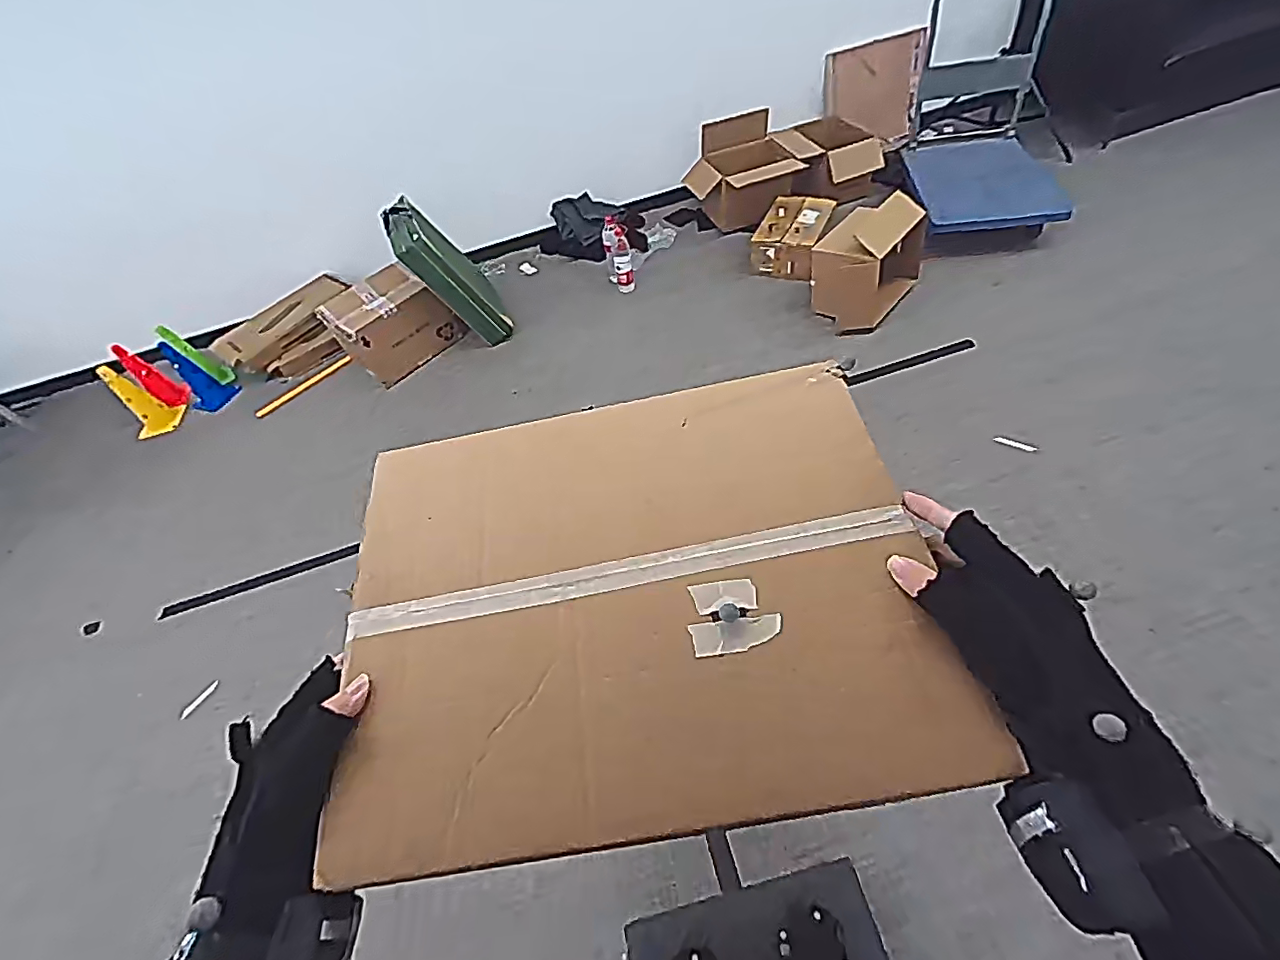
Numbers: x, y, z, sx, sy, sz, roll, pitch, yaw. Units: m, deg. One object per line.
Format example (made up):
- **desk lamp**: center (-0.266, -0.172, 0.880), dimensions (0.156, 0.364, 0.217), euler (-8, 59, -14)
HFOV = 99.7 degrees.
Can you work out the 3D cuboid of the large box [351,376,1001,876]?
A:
- **large box**: center (0.016, 0.152, 0.523), dimensions (0.408, 0.320, 0.320), euler (-11, 57, 2)
